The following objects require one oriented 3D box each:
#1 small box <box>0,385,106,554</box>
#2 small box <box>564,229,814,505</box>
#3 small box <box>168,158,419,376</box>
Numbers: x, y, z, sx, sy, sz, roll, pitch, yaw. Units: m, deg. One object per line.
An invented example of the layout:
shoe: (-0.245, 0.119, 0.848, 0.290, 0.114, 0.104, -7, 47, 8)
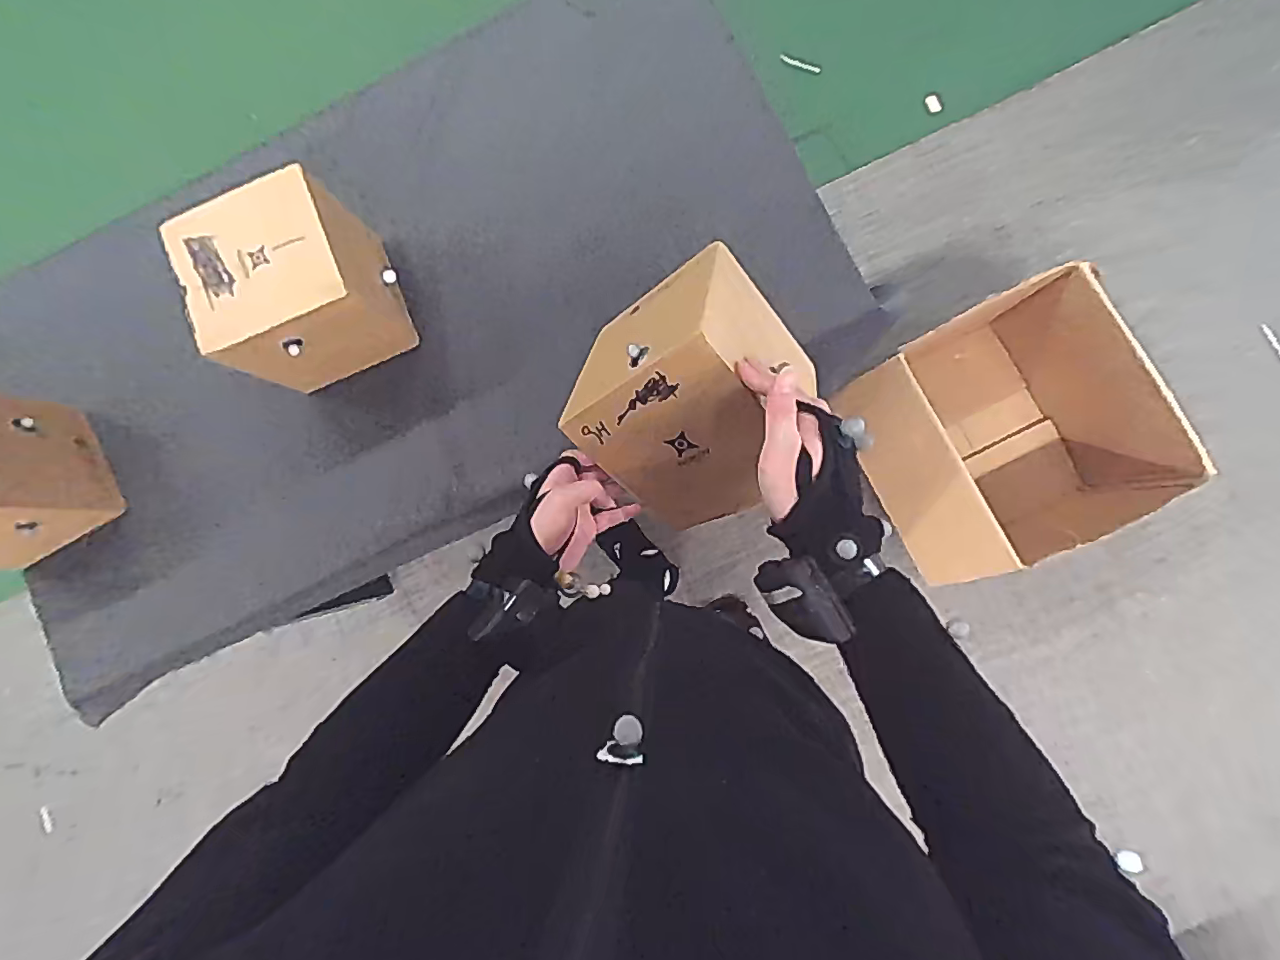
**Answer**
small box: (-0.826, -0.013, 0.669, 0.179, 0.176, 0.168, -29, 84, 3)
small box: (0.061, -0.109, 0.544, 0.168, 0.176, 0.179, -28, 122, 39)
small box: (-0.409, -0.243, 0.666, 0.179, 0.176, 0.168, -19, 87, 3)
